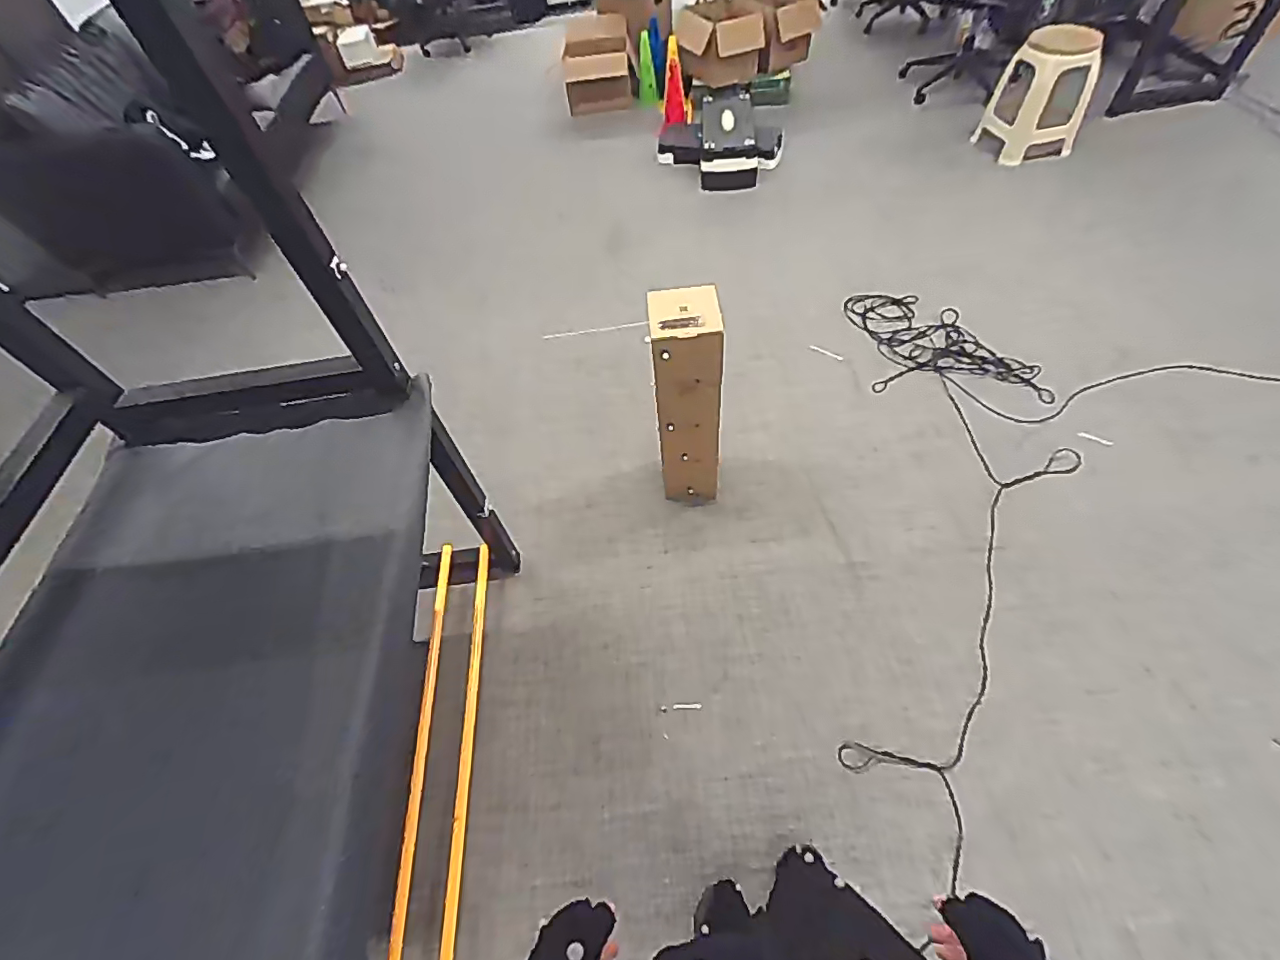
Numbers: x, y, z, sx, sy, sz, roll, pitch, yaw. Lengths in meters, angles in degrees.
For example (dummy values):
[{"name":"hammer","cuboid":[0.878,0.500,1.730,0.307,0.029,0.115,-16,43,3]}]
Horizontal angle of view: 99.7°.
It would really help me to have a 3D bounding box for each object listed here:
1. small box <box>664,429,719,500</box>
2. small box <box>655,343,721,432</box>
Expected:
[{"name":"small box","cuboid":[0.164,-0.053,1.723,0.168,0.176,0.179,-2,56,6]},{"name":"small box","cuboid":[0.129,-0.242,1.459,0.168,0.176,0.179,-4,54,4]}]
